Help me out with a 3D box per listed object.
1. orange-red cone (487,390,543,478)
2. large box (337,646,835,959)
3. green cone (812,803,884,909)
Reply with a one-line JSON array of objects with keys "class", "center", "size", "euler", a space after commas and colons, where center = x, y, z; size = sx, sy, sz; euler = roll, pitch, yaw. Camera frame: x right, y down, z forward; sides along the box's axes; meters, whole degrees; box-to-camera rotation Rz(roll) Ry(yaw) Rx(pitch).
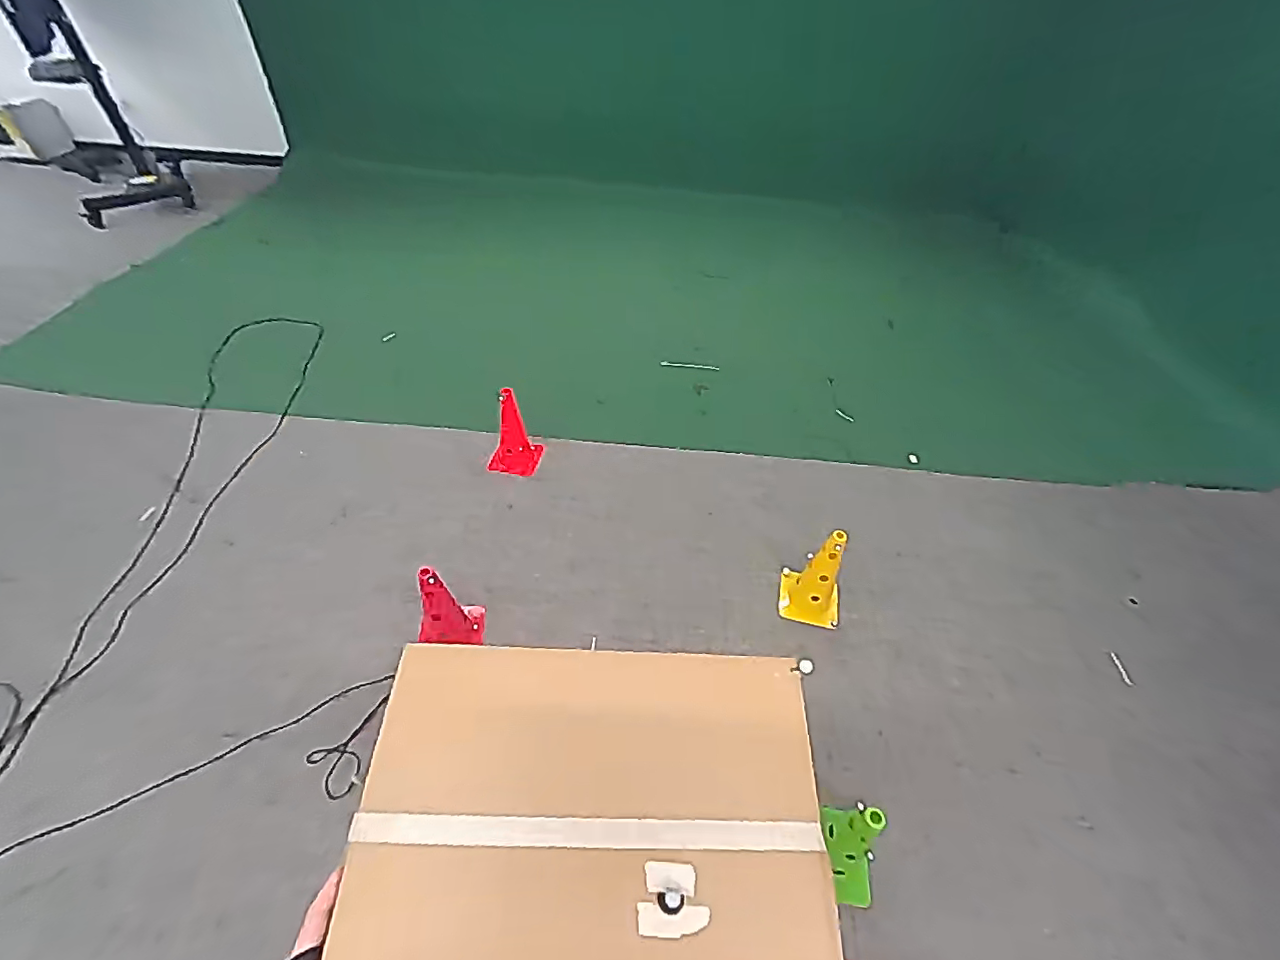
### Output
[{"class": "orange-red cone", "center": [-0.525, -0.208, 2.187], "size": [0.199, 0.360, 0.198], "euler": [10, 45, 7]}, {"class": "large box", "center": [-0.050, 0.390, 0.604], "size": [0.408, 0.320, 0.320], "euler": [3, 56, -3]}, {"class": "green cone", "center": [0.485, 0.831, 1.256], "size": [0.200, 0.368, 0.202], "euler": [10, 45, 5]}]
